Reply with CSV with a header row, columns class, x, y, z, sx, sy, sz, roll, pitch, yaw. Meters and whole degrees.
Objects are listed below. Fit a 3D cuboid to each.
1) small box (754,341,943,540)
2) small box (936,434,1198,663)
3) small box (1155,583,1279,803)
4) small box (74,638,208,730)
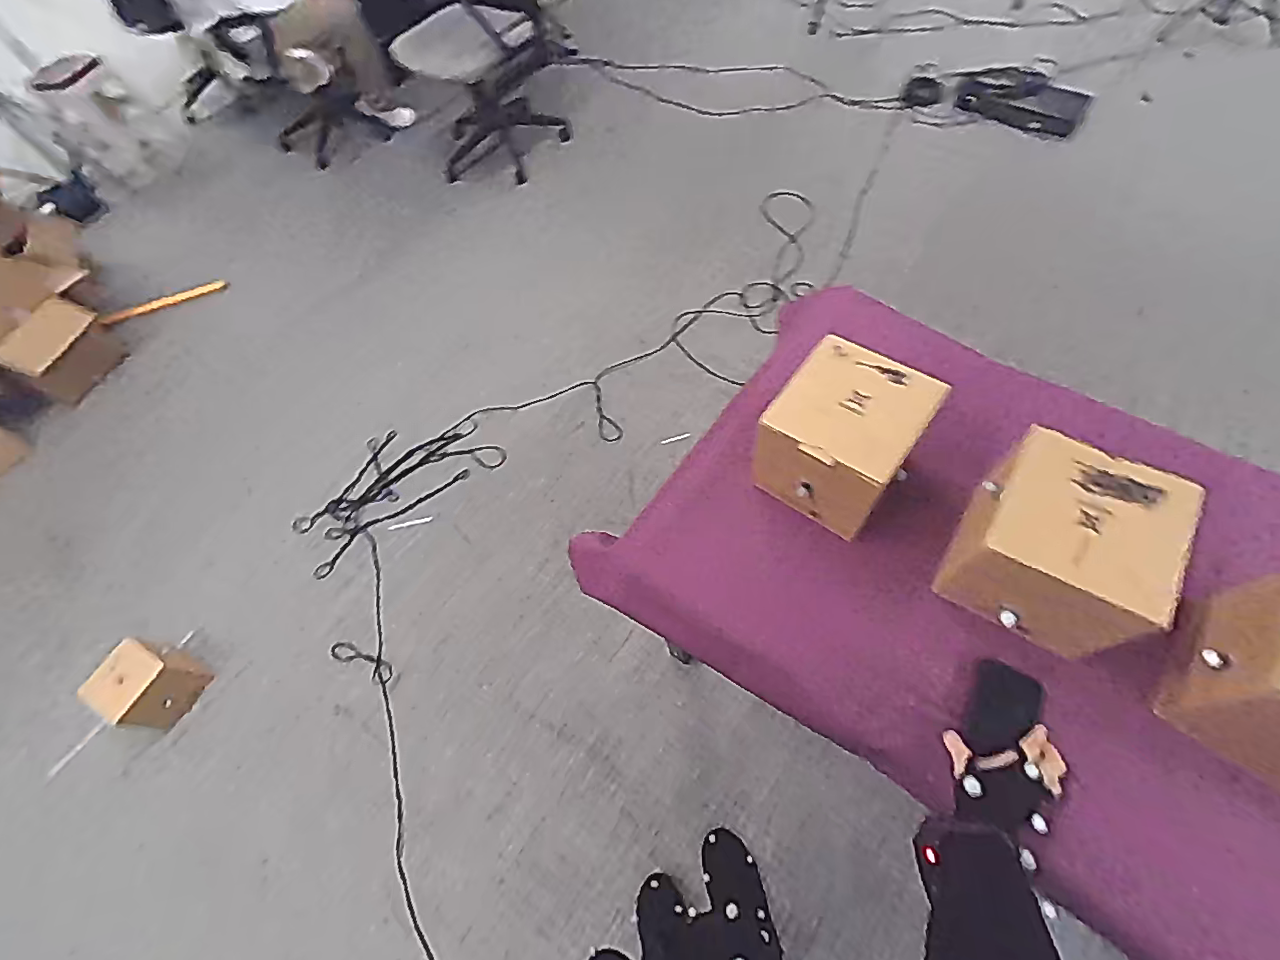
class,x,y,z,sx,sy,sz,roll,pitch,yaw
small box,0.271,-0.047,0.739,0.168,0.176,0.179,33,71,24
small box,0.479,0.084,0.633,0.168,0.176,0.179,28,68,22
small box,0.675,0.219,0.528,0.179,0.176,0.168,36,71,24
small box,-1.340,0.558,1.466,0.179,0.176,0.168,23,67,20
